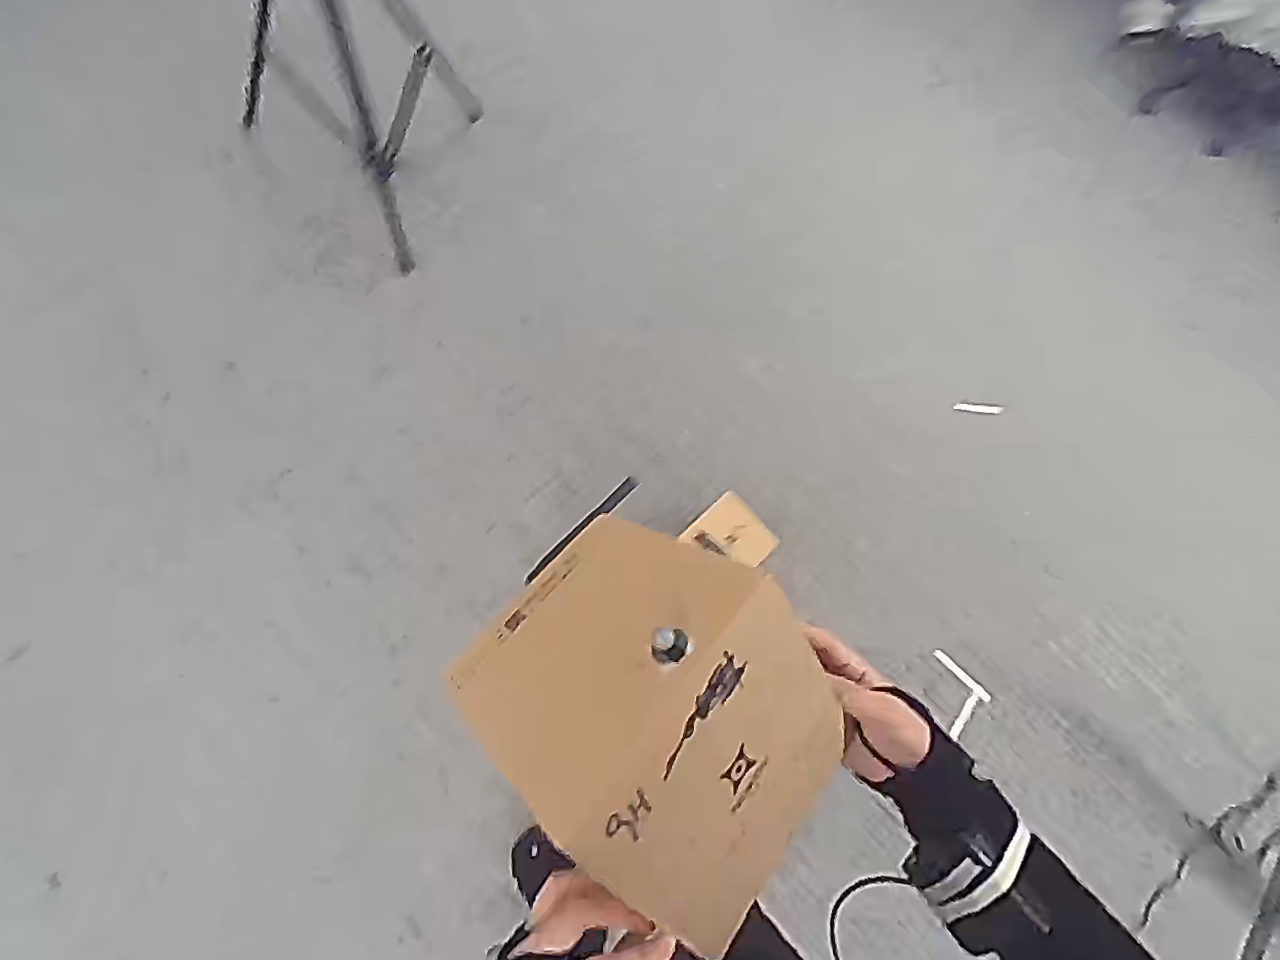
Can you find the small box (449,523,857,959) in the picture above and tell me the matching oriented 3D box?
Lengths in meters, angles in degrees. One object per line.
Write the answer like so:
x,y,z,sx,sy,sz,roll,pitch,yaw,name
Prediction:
0.011,0.153,0.358,0.168,0.176,0.179,-45,124,-24,small box
